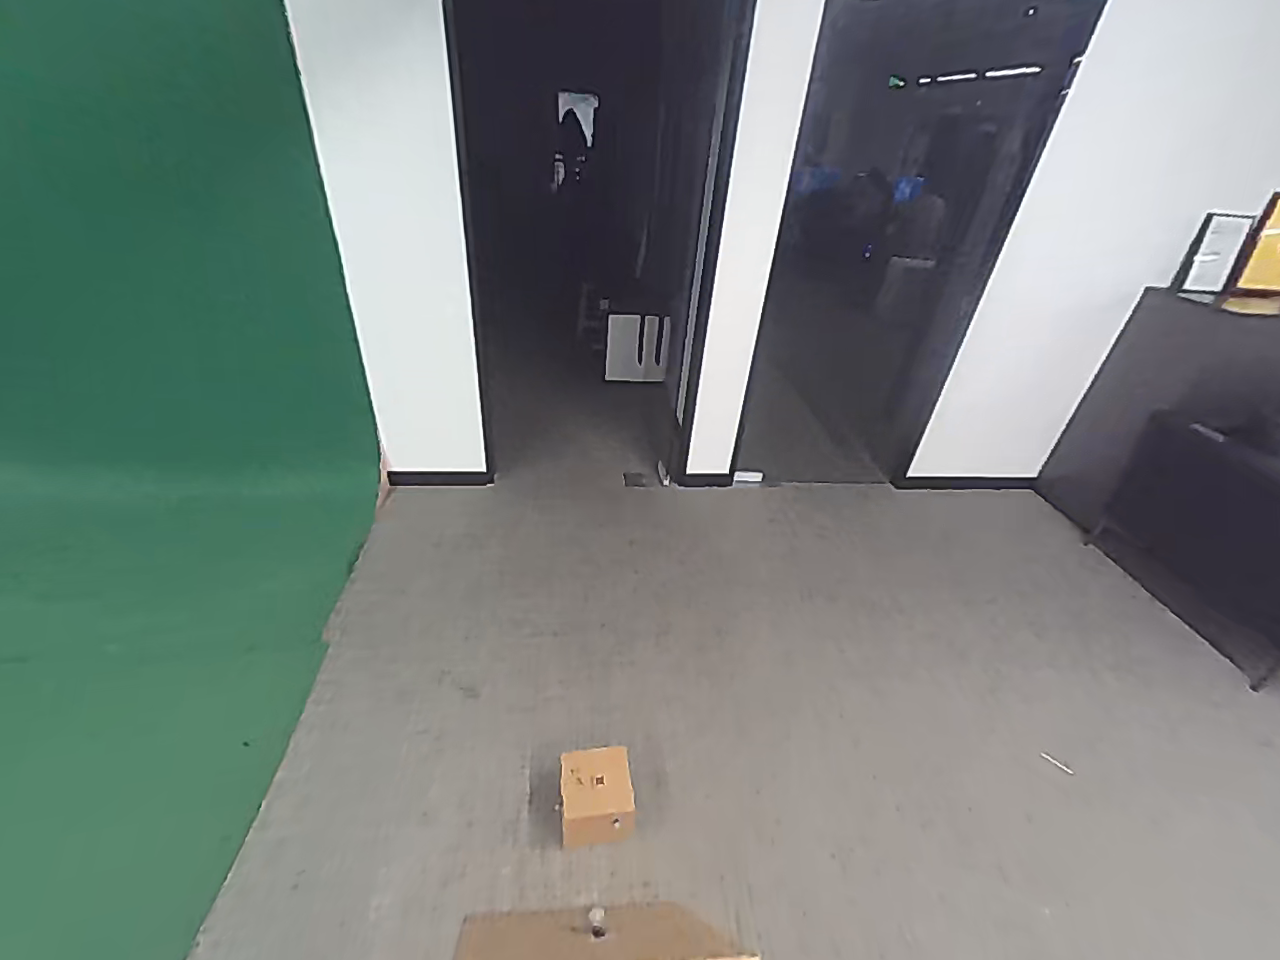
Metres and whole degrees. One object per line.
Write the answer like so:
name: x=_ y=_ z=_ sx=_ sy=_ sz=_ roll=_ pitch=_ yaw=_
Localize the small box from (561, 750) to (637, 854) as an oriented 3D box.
small box: x=-0.112 y=0.828 z=1.391 sx=0.179 sy=0.176 sz=0.168 roll=-2 pitch=34 yaw=-10
